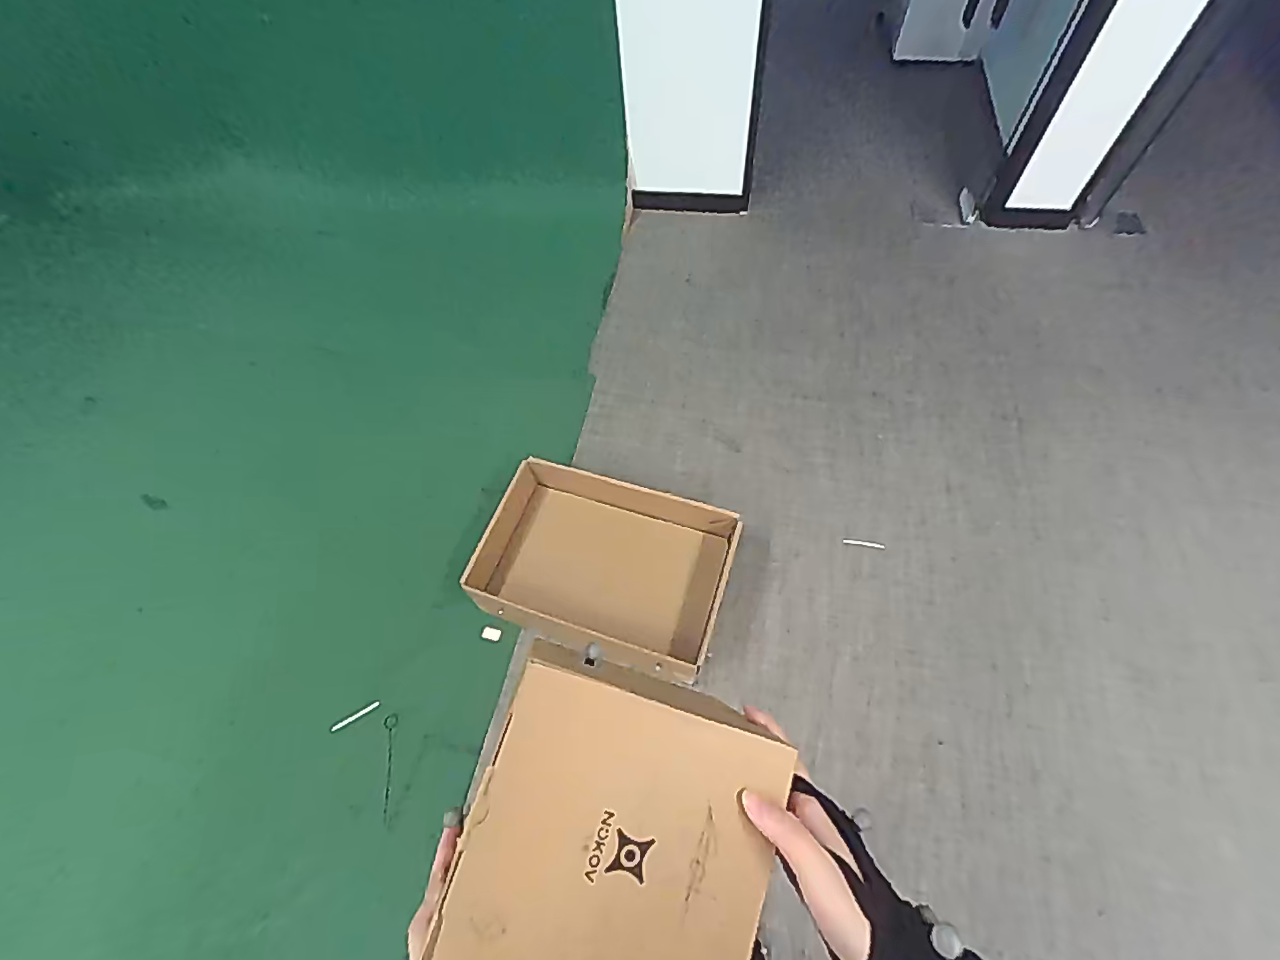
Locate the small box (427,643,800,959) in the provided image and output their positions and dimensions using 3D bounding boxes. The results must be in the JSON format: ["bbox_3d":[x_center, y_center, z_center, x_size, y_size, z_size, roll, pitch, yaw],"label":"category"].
[{"bbox_3d":[-0.020,0.224,0.386,0.179,0.176,0.168,21,76,-6],"label":"small box"}]
